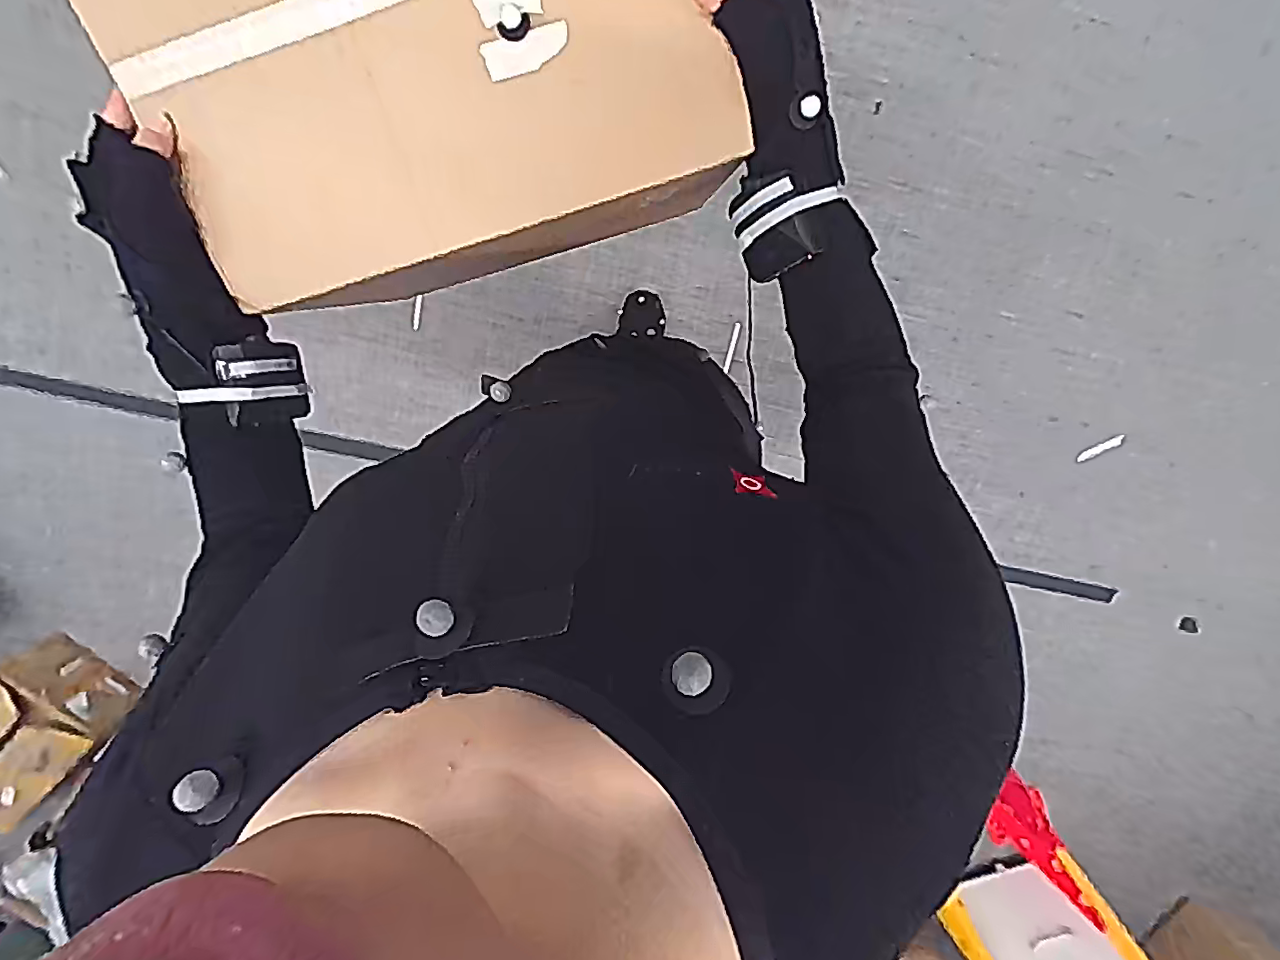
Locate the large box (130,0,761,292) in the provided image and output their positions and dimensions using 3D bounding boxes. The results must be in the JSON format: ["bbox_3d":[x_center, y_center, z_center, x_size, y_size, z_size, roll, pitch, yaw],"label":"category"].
[{"bbox_3d":[-0.145,-0.384,0.500,0.408,0.320,0.320,-15,110,4],"label":"large box"}]
